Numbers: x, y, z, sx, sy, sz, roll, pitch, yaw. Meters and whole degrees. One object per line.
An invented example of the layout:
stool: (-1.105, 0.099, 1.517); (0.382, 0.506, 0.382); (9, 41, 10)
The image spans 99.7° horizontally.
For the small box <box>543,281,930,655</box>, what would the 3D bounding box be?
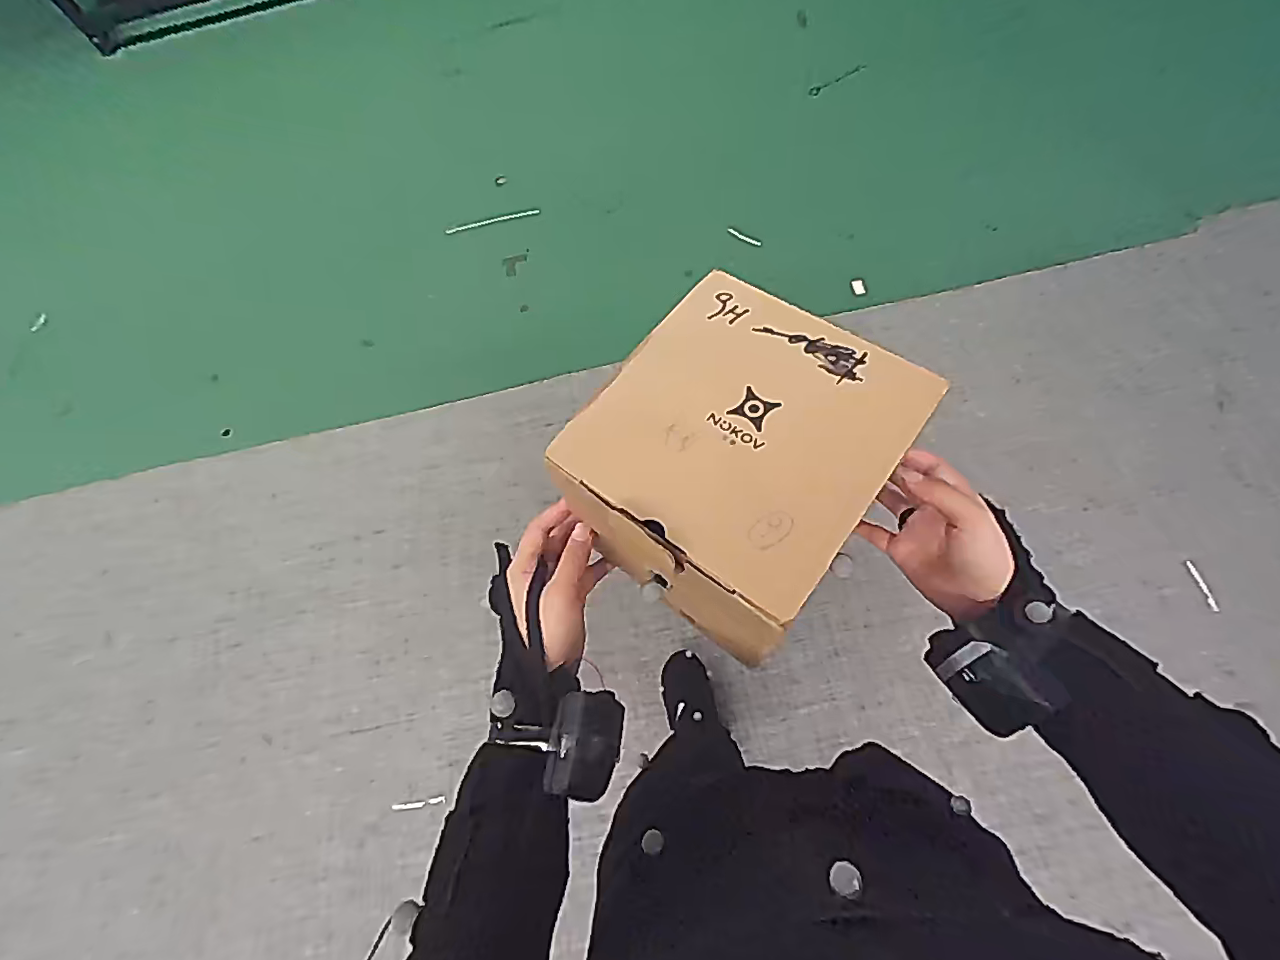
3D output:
small box: (0.065, 0.003, 0.390); (0.168, 0.176, 0.179); (34, 73, 20)
